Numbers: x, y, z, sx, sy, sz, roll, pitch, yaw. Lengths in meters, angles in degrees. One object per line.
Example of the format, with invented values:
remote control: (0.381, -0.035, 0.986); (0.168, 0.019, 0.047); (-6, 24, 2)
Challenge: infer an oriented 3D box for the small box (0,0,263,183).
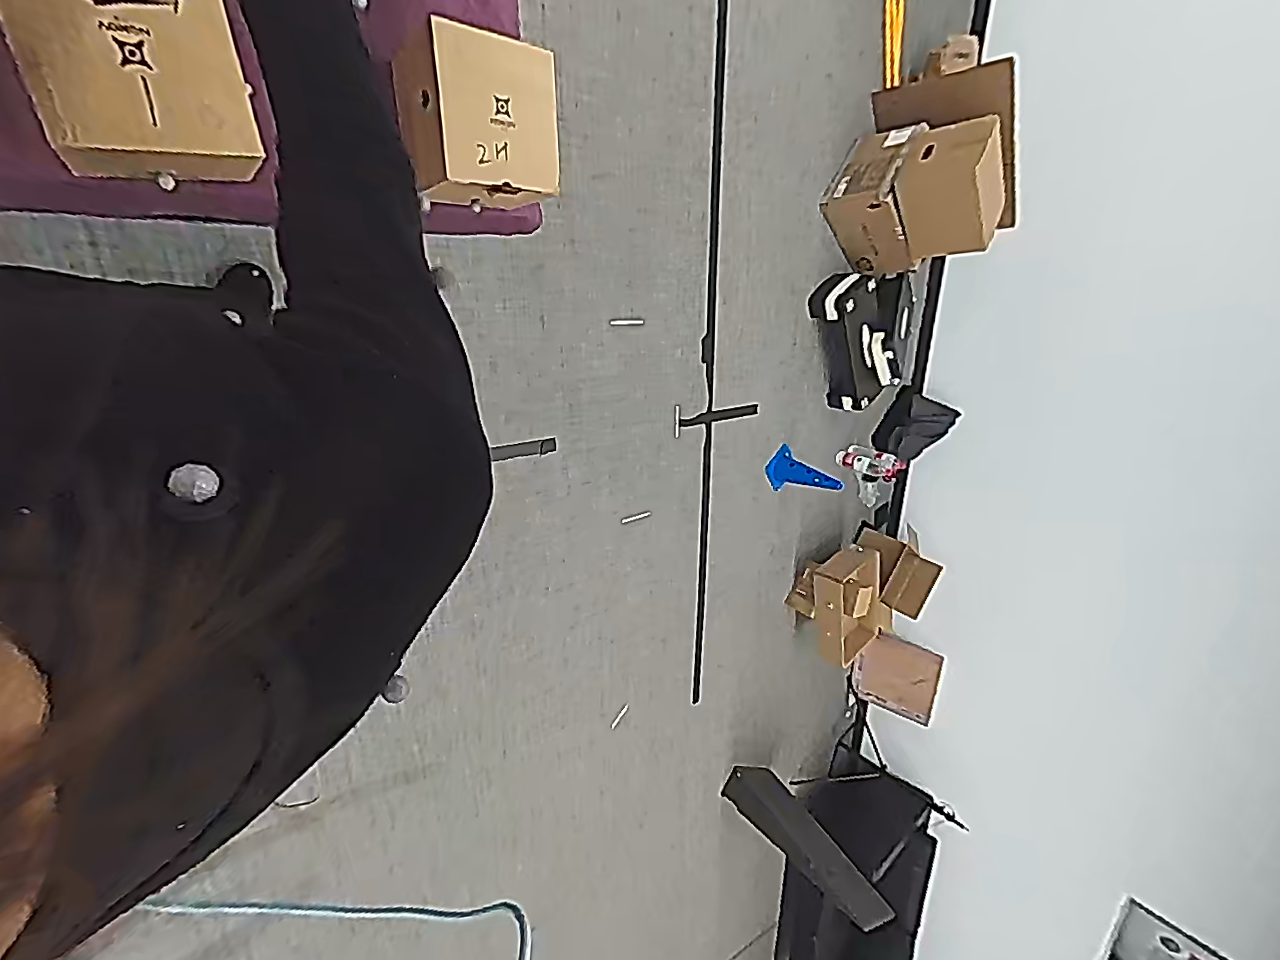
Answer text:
small box: (-0.513, -0.415, 0.549); (0.168, 0.176, 0.179); (-19, 118, -34)

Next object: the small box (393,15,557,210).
small box: (-0.232, -0.494, 0.760); (0.168, 0.176, 0.179); (-14, 113, -36)
